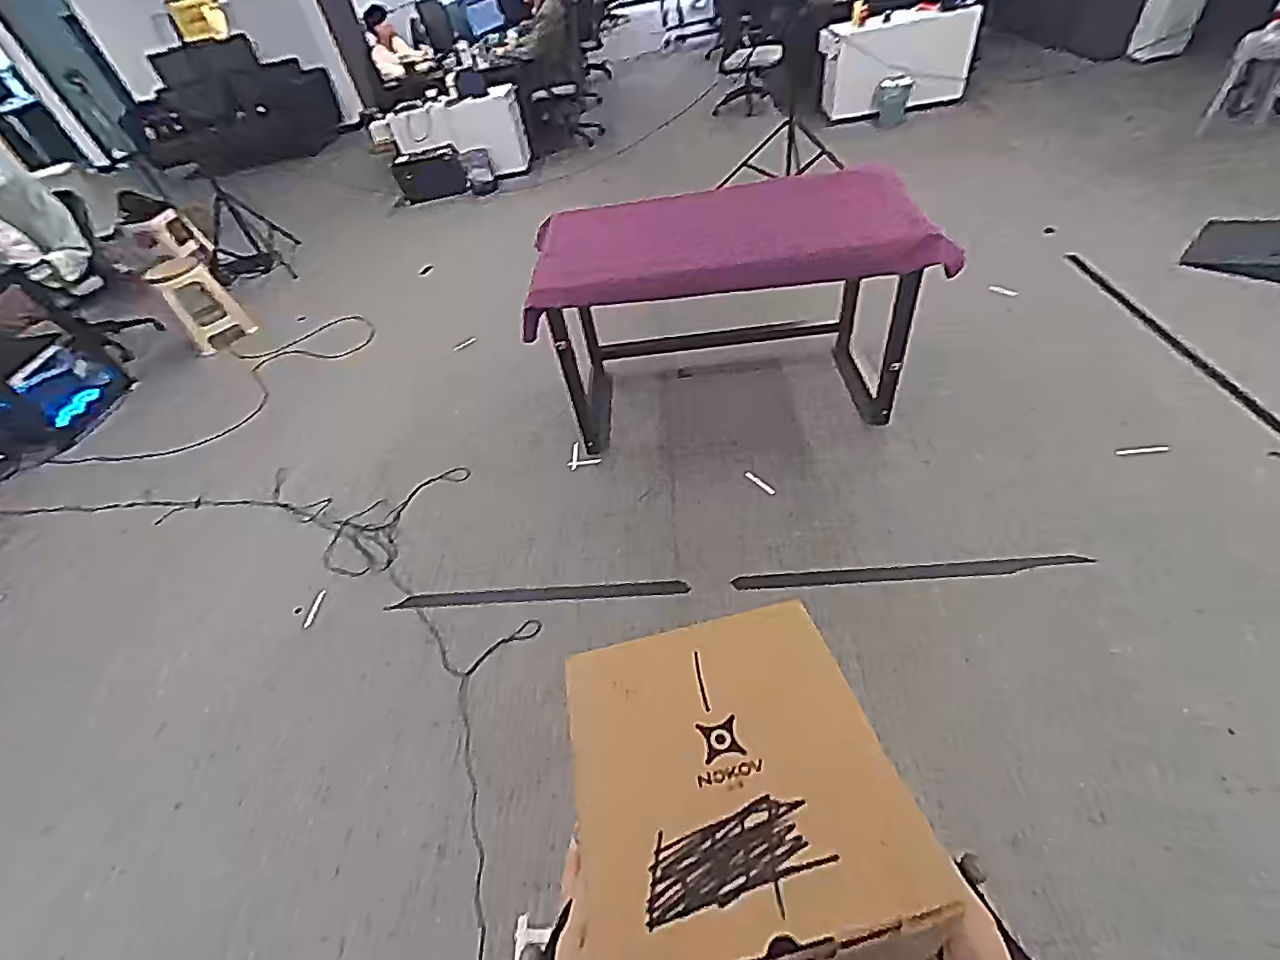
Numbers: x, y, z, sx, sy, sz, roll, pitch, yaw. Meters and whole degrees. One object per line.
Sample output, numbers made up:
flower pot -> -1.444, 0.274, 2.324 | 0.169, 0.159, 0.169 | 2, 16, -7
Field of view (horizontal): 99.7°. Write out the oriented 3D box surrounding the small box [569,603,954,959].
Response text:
small box -> 0.057, 0.213, 0.344 | 0.168, 0.176, 0.179 | -12, 37, -3
